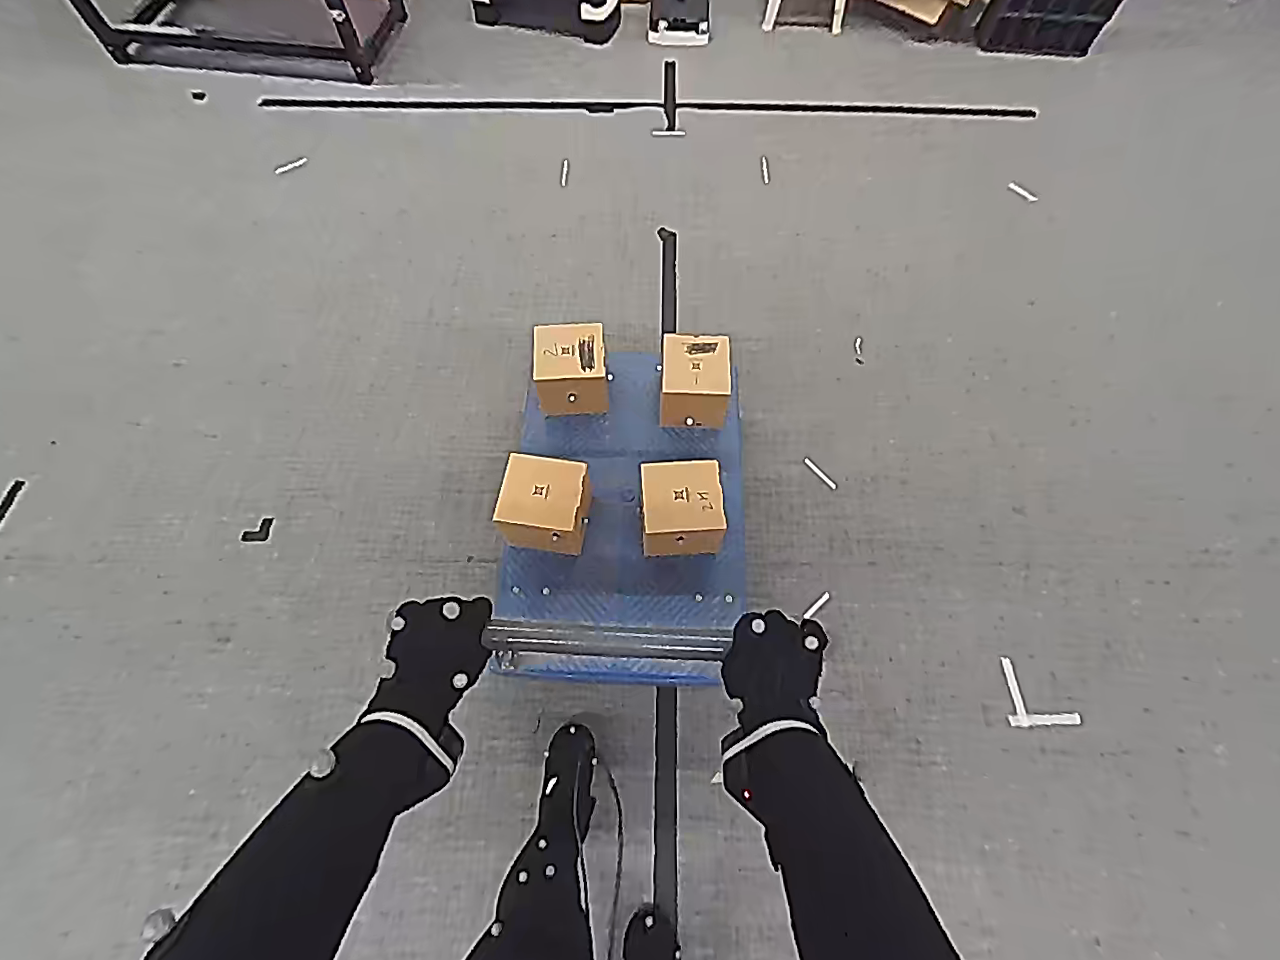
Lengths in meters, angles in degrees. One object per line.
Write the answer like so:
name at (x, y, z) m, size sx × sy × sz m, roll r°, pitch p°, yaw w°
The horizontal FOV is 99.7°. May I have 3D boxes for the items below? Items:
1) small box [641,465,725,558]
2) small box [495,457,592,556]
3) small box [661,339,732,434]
small box at (0.093, 0.077, 1.247) m, size 0.179 × 0.176 × 0.168 m, roll -2°, pitch 65°, yaw -2°
small box at (-0.214, 0.066, 1.248) m, size 0.179 × 0.176 × 0.168 m, roll 8°, pitch 65°, yaw 2°
small box at (0.141, -0.239, 1.394) m, size 0.168 × 0.176 × 0.179 m, roll 2°, pitch 66°, yaw 1°
